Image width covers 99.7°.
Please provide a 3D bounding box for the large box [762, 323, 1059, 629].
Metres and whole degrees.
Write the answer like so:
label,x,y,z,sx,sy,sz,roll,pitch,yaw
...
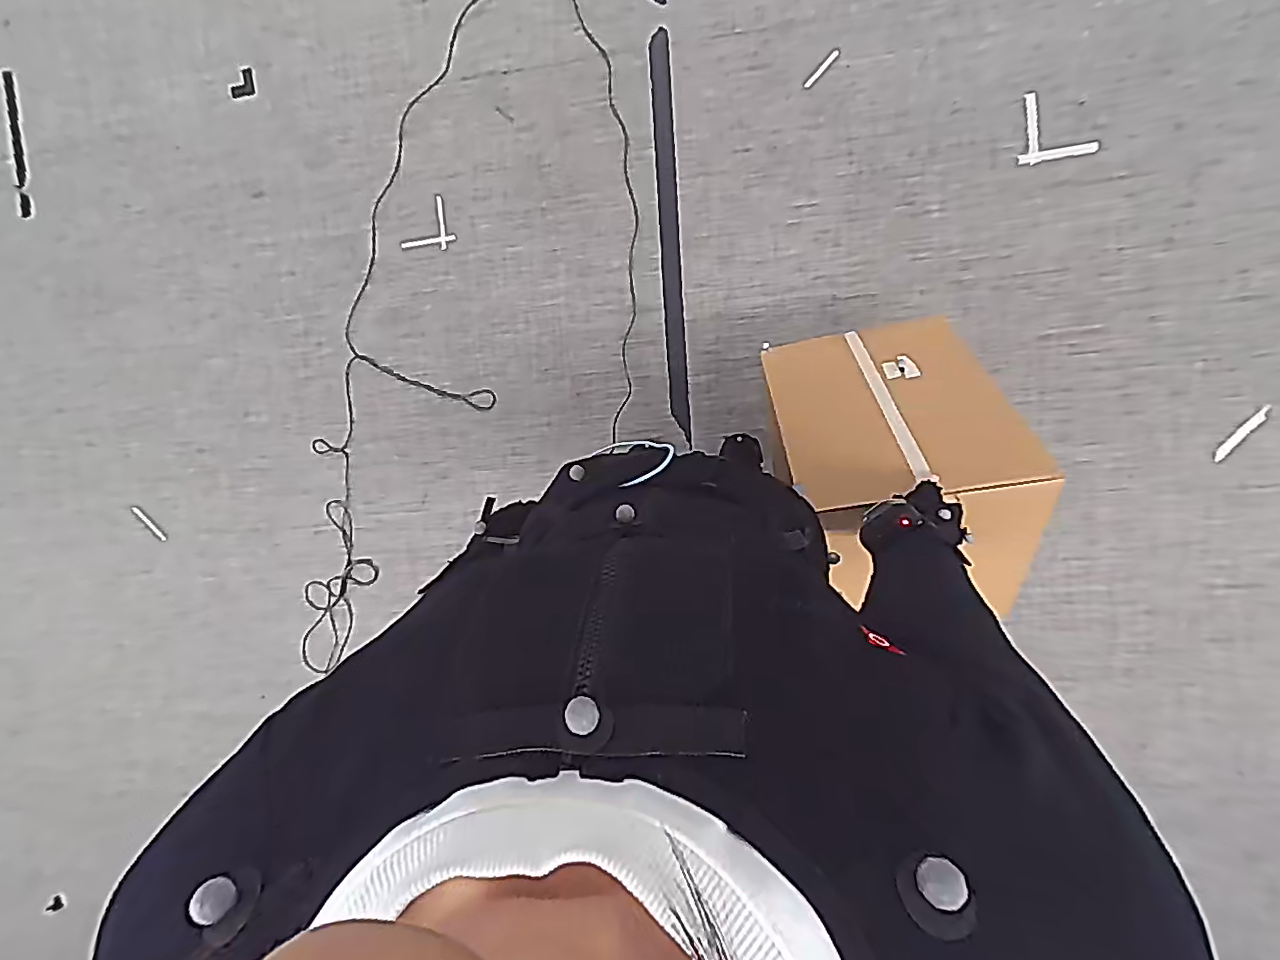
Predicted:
label,x,y,z,sx,sy,sz,roll,pitch,yaw
large box,0.410,-0.010,0.932,0.320,0.408,0.320,-9,133,9
